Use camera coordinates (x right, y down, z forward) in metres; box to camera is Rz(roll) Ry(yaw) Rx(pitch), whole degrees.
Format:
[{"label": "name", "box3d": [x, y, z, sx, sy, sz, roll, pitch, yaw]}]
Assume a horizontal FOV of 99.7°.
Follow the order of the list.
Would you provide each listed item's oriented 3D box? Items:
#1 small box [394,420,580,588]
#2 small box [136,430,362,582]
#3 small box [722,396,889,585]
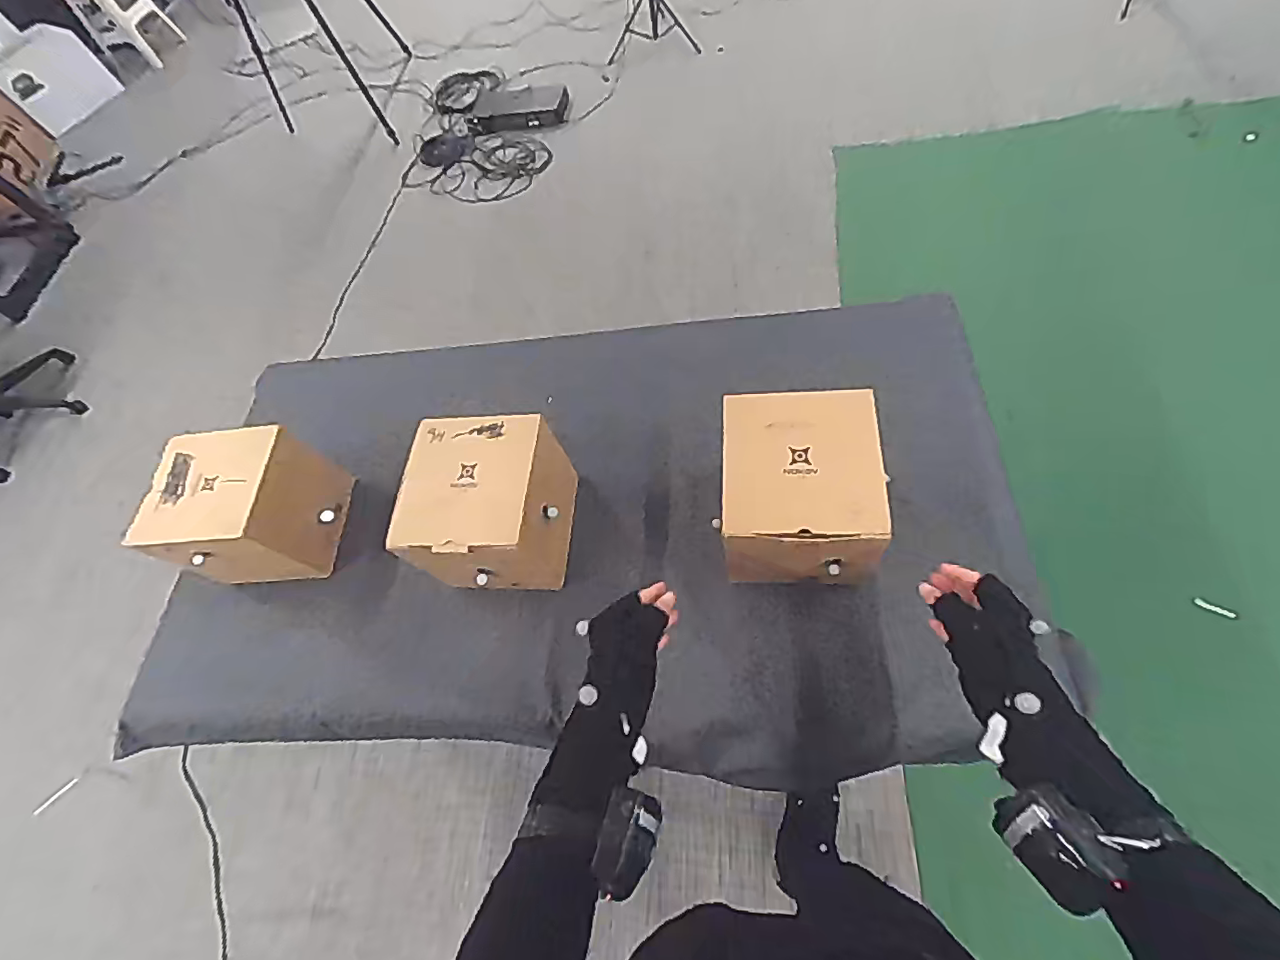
[{"label": "small box", "box3d": [-0.186, 0.040, 0.717, 0.168, 0.176, 0.179, -1, 63, 11]}, {"label": "small box", "box3d": [-0.550, 0.046, 0.787, 0.179, 0.176, 0.168, -5, 63, 8]}, {"label": "small box", "box3d": [0.186, 0.021, 0.651, 0.168, 0.176, 0.179, -1, 62, 10]}]
